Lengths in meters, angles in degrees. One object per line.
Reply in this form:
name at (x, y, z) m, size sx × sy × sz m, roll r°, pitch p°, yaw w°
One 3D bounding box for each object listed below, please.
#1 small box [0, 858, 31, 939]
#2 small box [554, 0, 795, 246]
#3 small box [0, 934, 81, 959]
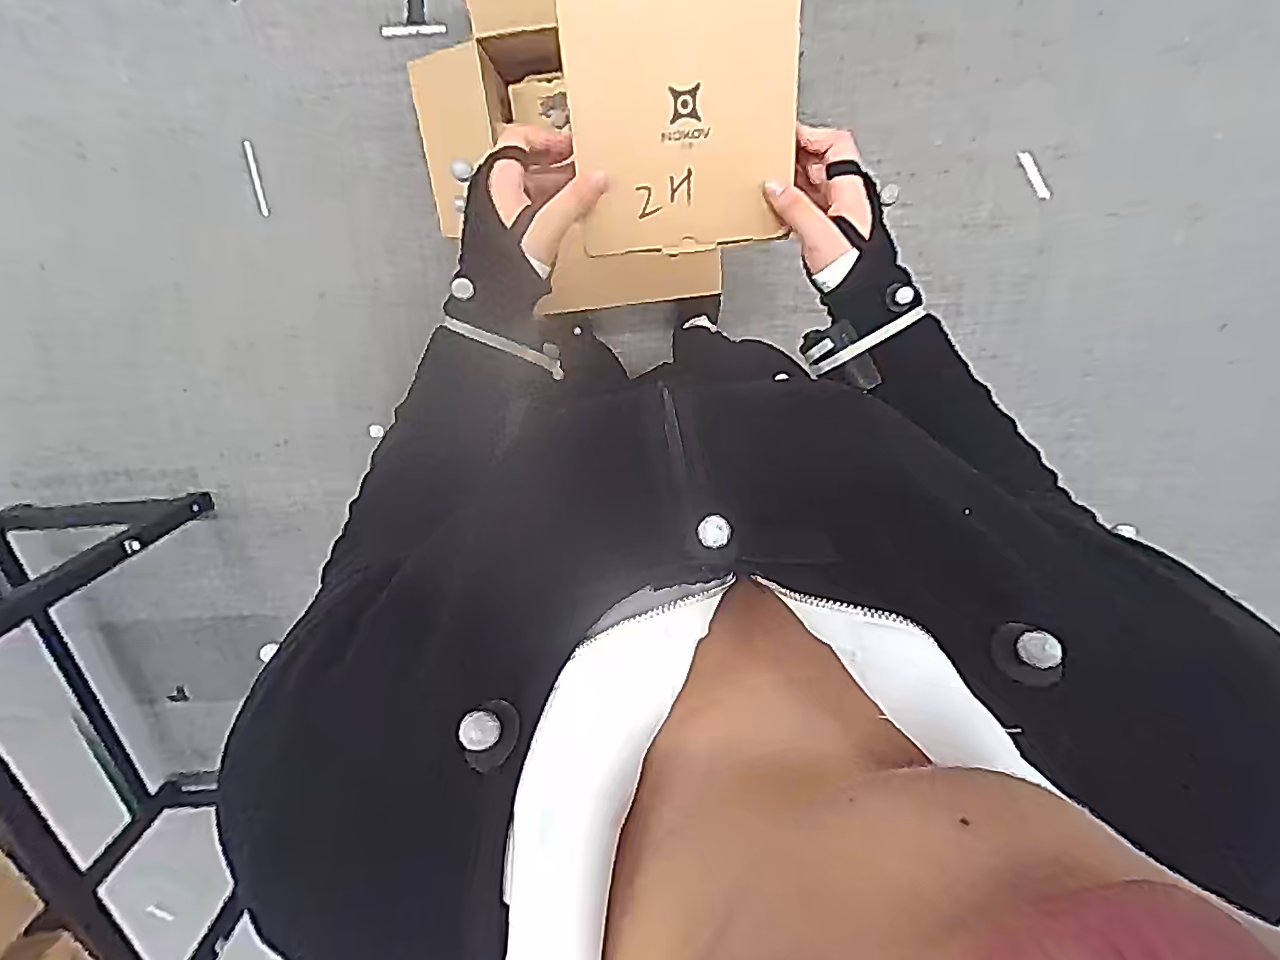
small box at (-1.302, 0.814, 0.986) m, size 0.168 × 0.176 × 0.179 m, roll -4°, pitch 112°, yaw 0°
small box at (0.022, -0.302, 0.458) m, size 0.168 × 0.176 × 0.179 m, roll -6°, pitch 117°, yaw -1°
small box at (-1.281, 1.052, 1.083) m, size 0.179 × 0.176 × 0.168 m, roll -8°, pitch 112°, yaw 2°
